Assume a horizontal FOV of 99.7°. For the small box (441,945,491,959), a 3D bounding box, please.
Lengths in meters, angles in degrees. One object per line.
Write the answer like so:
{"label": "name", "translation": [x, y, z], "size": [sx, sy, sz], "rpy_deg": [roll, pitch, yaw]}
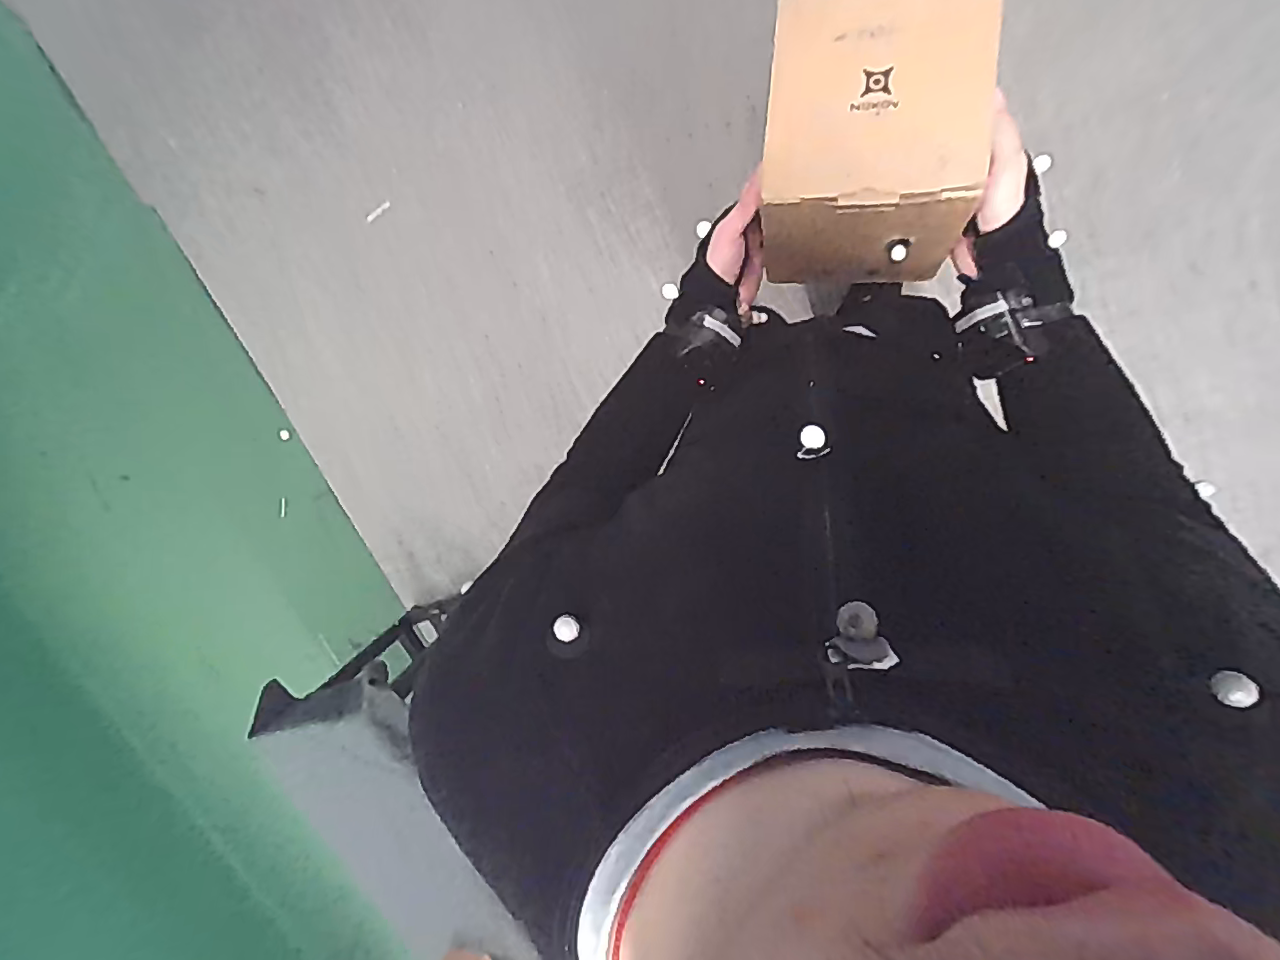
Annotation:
{"label": "small box", "translation": [-0.564, 1.625, 1.714], "size": [0.179, 0.176, 0.168], "rpy_deg": [-18, 104, 26]}

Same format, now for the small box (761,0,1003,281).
{"label": "small box", "translation": [0.205, -0.297, 0.496], "size": [0.168, 0.176, 0.179], "rpy_deg": [5, 87, 15]}
